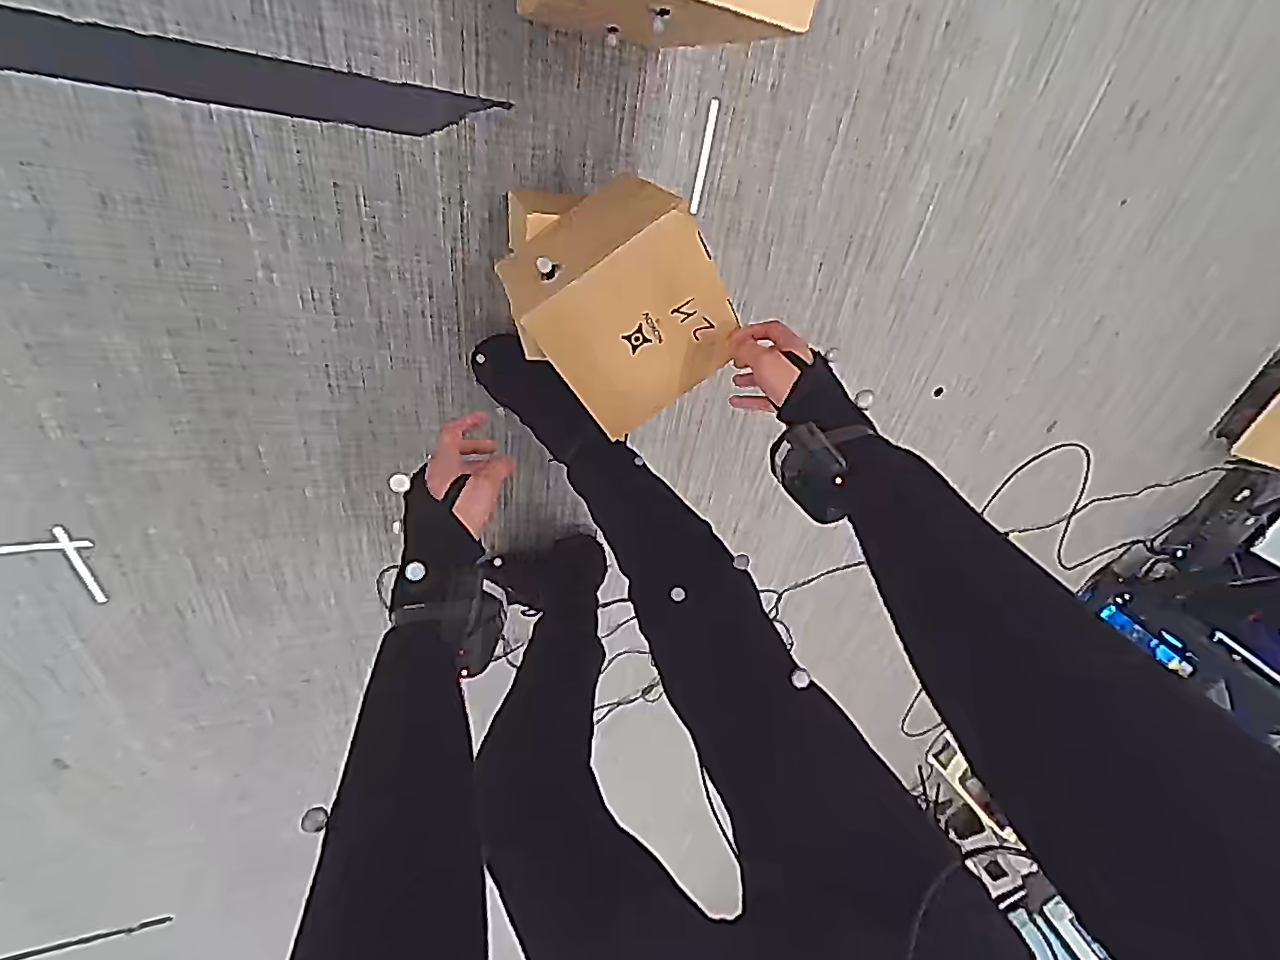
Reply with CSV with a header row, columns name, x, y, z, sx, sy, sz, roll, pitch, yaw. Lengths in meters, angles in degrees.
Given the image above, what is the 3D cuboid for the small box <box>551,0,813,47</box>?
name,x,y,z,sx,sy,sz,roll,pitch,yaw
small box,0.033,-0.443,0.399,0.179,0.176,0.168,-1,124,-20

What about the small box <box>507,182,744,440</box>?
name,x,y,z,sx,sy,sz,roll,pitch,yaw
small box,-0.024,-0.182,0.573,0.179,0.176,0.168,-35,131,4

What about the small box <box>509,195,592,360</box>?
name,x,y,z,sx,sy,sz,roll,pitch,yaw
small box,-0.075,-0.265,0.705,0.179,0.176,0.168,-6,127,-19
